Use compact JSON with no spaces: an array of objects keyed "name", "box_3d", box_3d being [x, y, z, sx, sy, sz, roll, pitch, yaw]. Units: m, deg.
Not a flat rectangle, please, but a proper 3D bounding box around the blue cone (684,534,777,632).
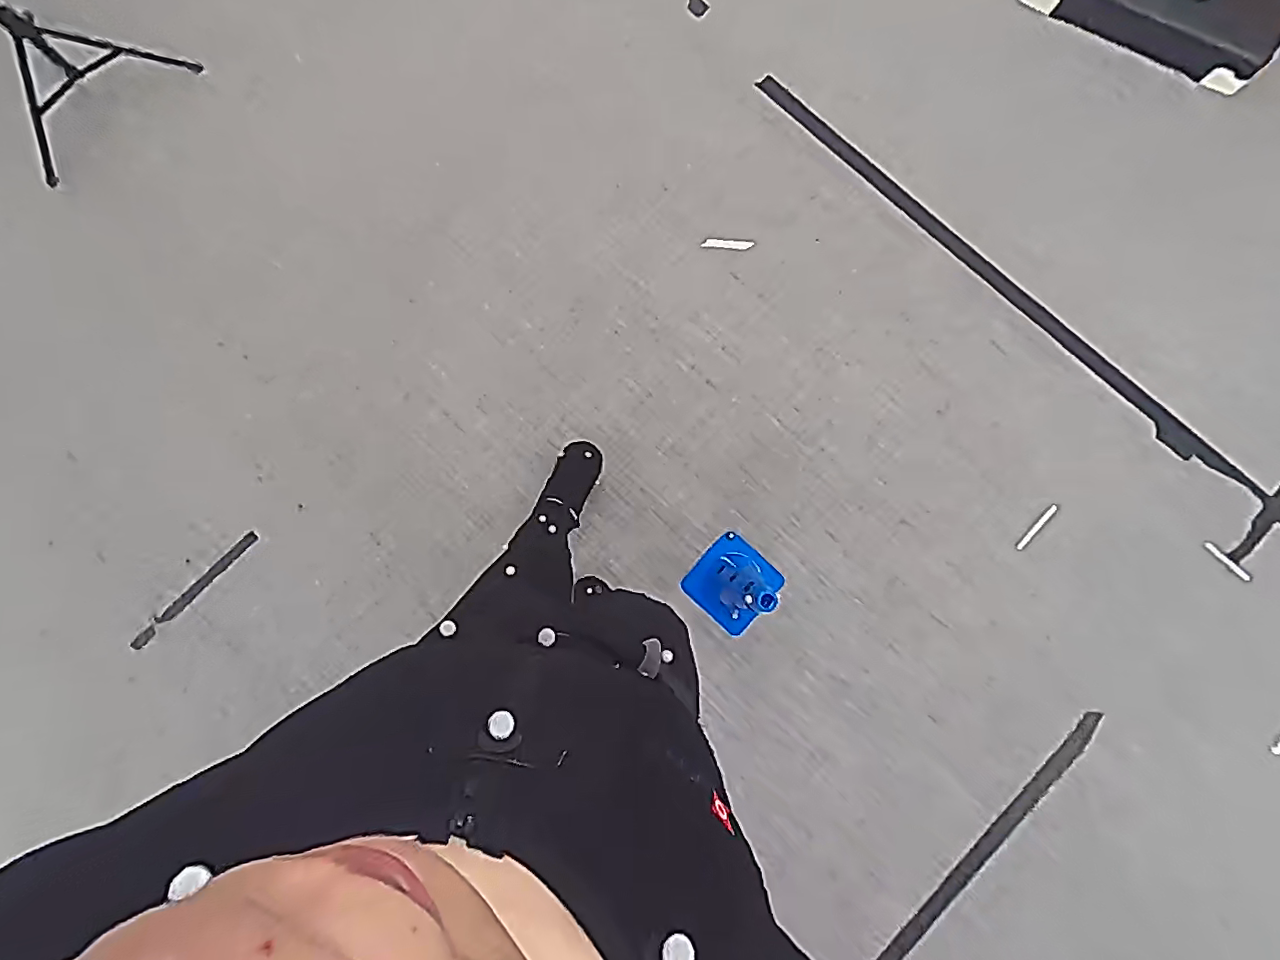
[{"name":"blue cone","box_3d":[0.226,0.243,1.182,0.192,0.380,0.193,44,86,4]}]
